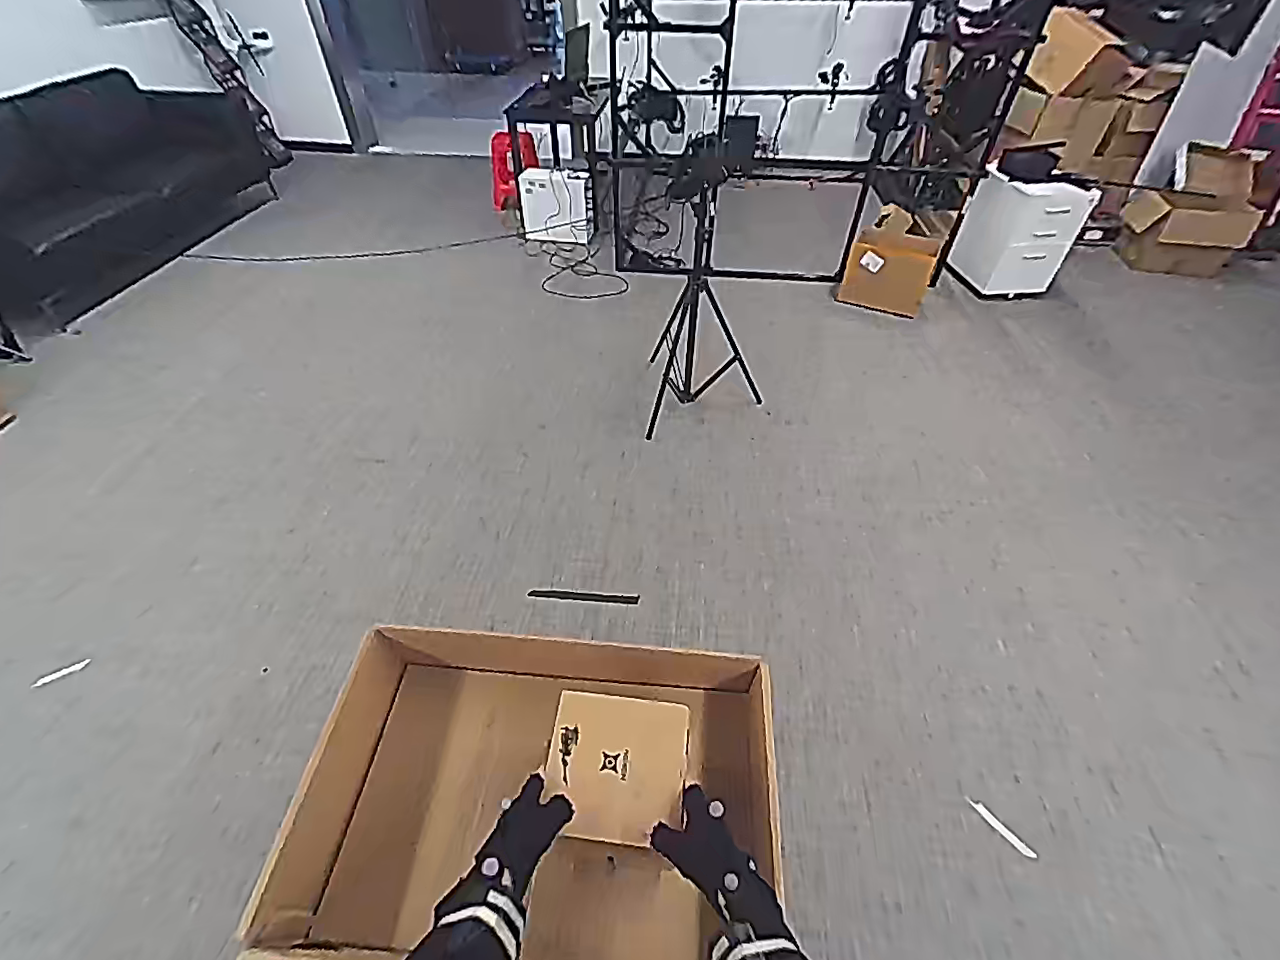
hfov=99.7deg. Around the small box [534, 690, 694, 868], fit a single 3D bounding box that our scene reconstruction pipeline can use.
[{"bbox_3d":[-0.027,0.403,0.723,0.179,0.176,0.168,6,48,4],"label":"small box"}]
